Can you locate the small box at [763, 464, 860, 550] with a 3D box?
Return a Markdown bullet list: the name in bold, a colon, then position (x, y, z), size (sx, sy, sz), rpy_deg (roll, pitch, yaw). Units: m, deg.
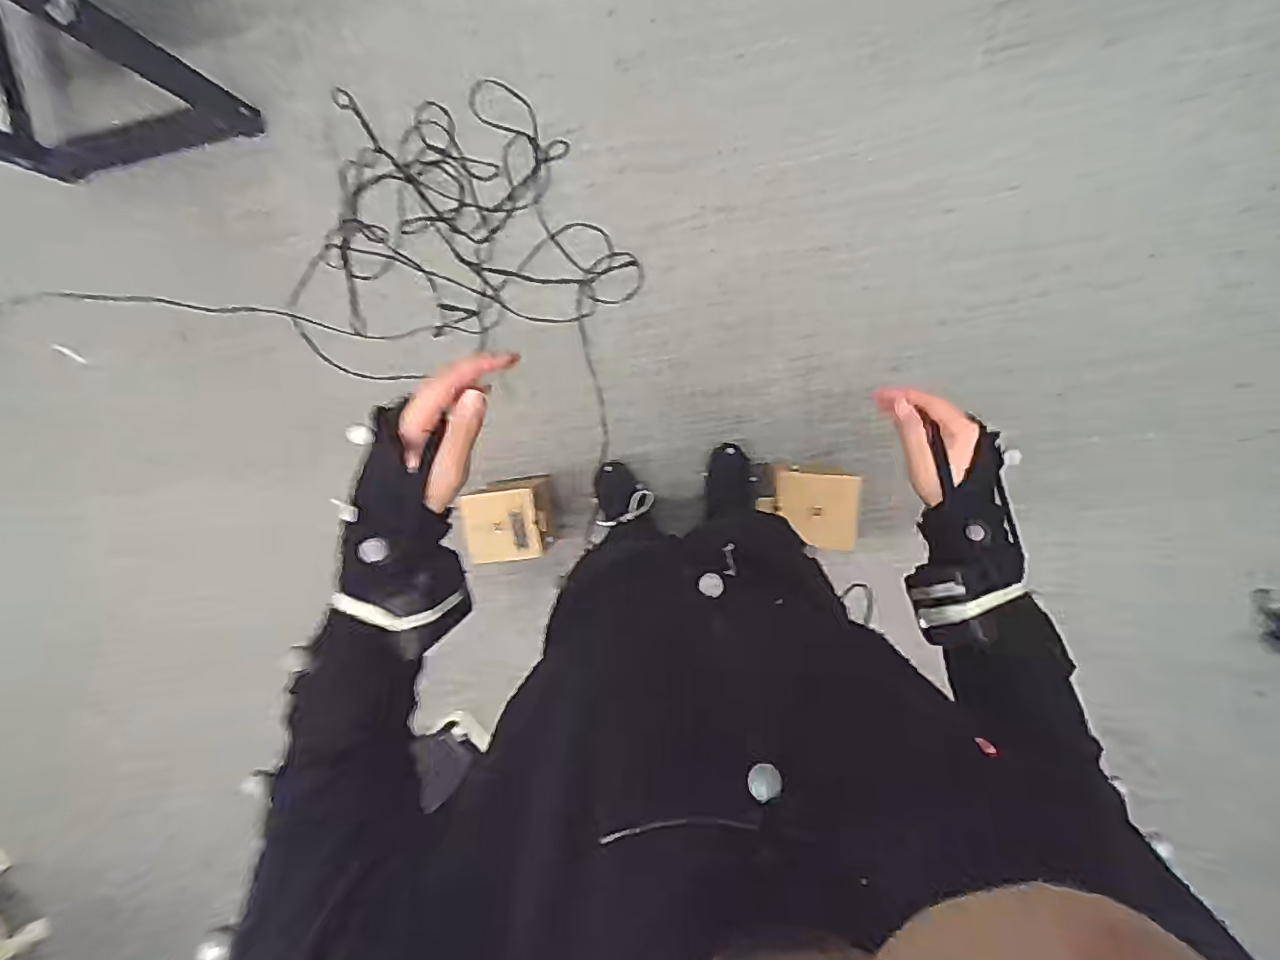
- **small box**: position (0.389, 0.055, 1.252), size (0.179, 0.176, 0.168), rpy_deg (3, 99, 5)
